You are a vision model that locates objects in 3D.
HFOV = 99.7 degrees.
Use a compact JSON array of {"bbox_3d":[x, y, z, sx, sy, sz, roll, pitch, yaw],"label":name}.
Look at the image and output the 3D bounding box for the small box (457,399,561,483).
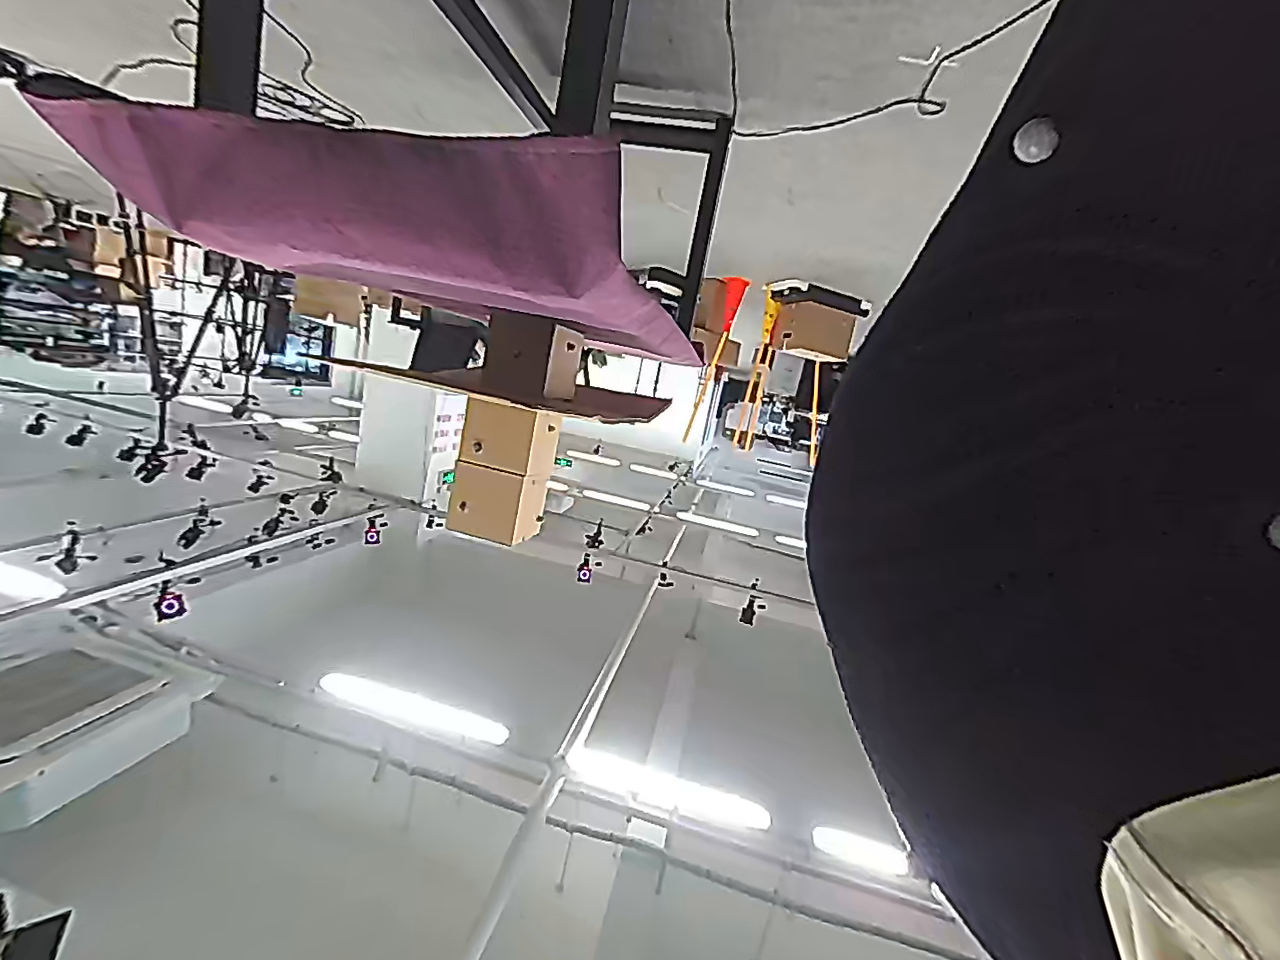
[{"bbox_3d":[-0.306,-0.099,1.283,0.179,0.176,0.168,12,-173,10],"label":"small box"}]
